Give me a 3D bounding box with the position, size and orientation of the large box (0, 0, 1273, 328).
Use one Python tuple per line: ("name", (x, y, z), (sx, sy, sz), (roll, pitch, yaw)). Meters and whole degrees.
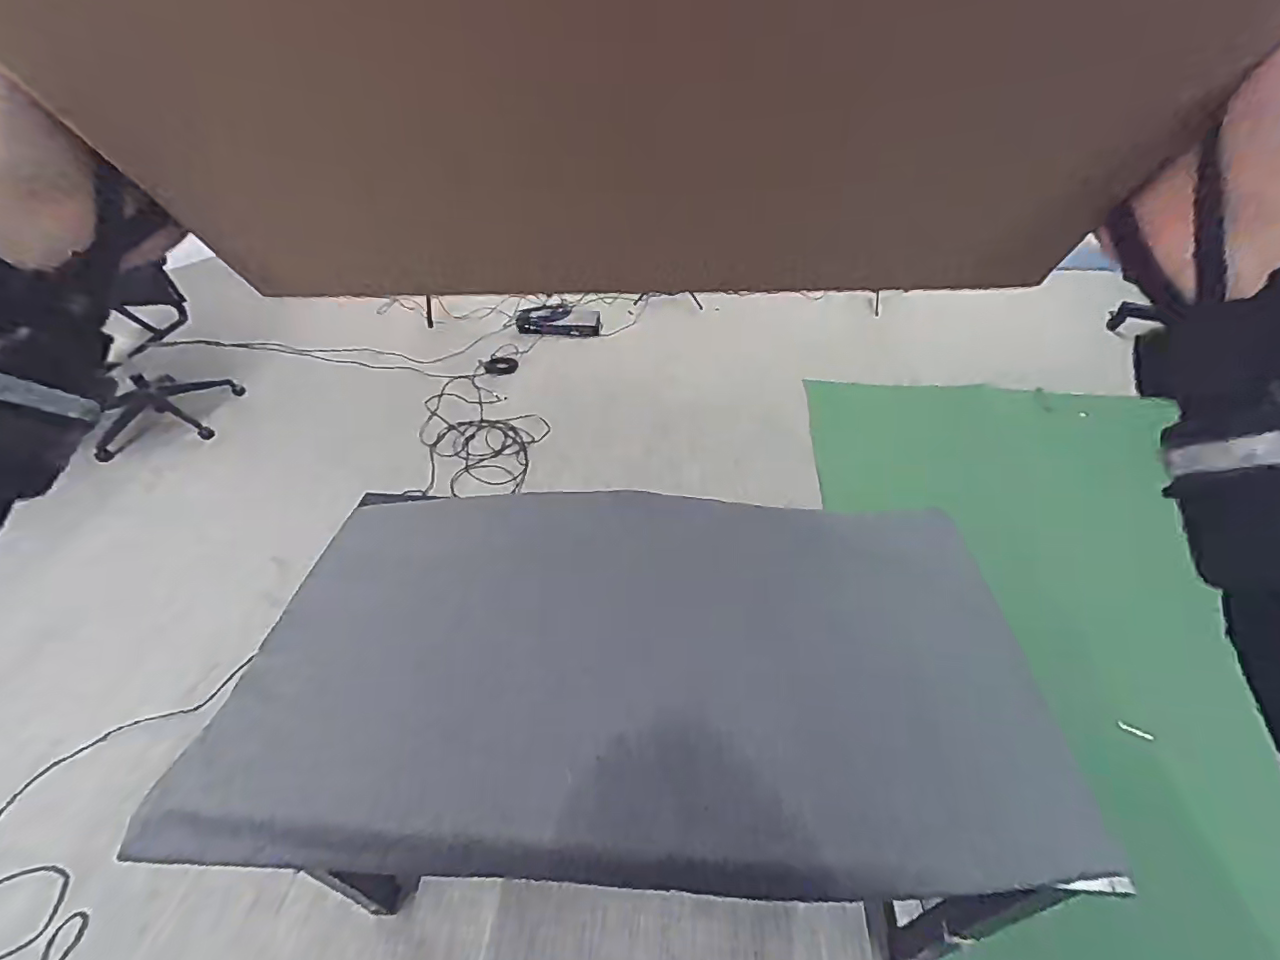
("large box", (-0.014, -0.277, 0.204), (0.408, 0.320, 0.320), (0, 73, 3))
